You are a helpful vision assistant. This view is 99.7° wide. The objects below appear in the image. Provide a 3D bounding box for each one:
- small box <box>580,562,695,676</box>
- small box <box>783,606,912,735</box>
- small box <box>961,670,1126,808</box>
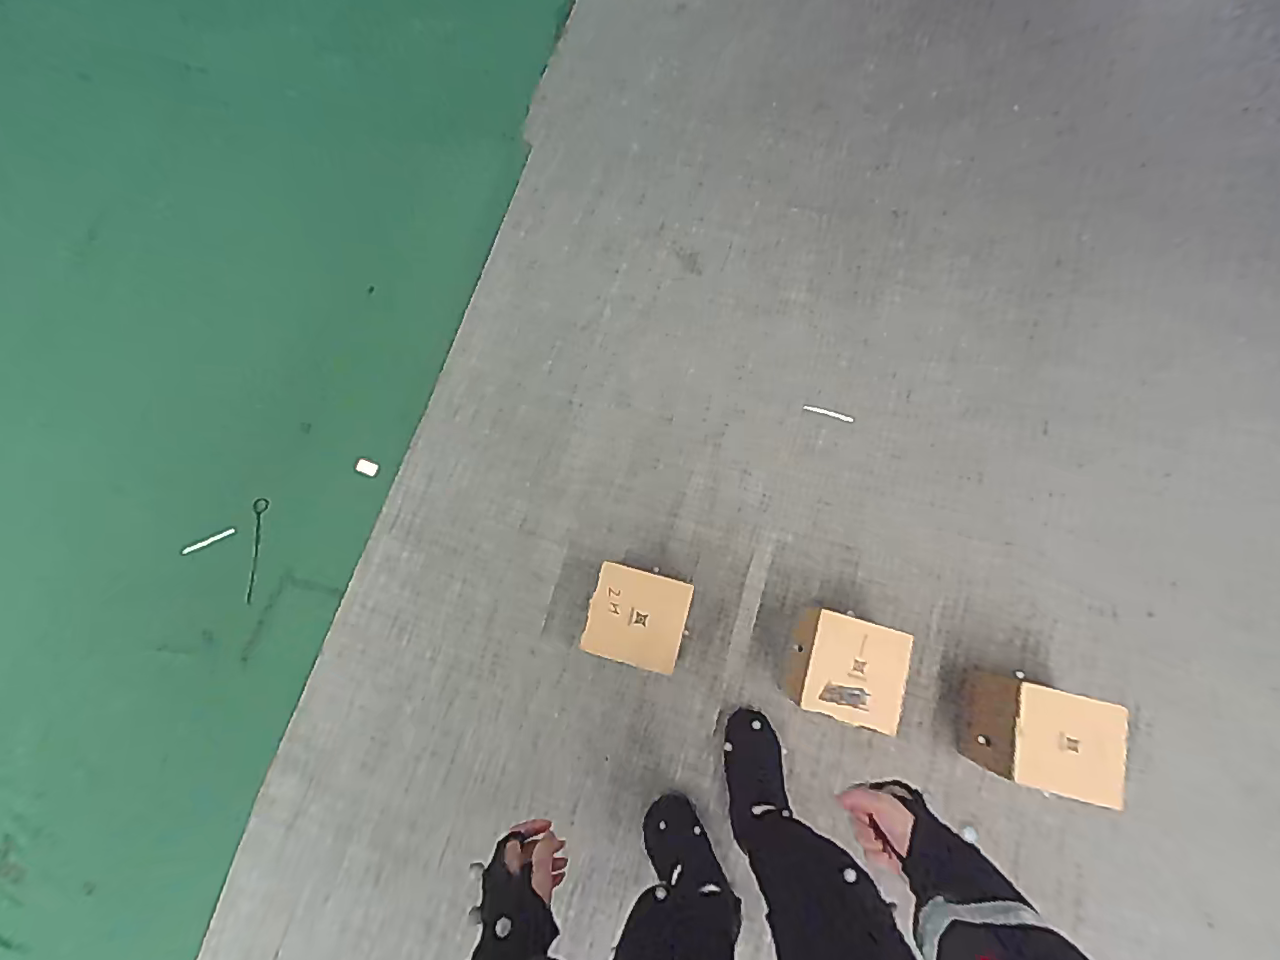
[{"bbox_3d":[0.000,0.263,1.052,0.179,0.176,0.168,15,79,6],"label":"small box"},{"bbox_3d":[0.378,0.345,1.015,0.168,0.176,0.179,15,79,6],"label":"small box"},{"bbox_3d":[0.714,0.451,0.975,0.179,0.176,0.168,13,80,5],"label":"small box"}]
